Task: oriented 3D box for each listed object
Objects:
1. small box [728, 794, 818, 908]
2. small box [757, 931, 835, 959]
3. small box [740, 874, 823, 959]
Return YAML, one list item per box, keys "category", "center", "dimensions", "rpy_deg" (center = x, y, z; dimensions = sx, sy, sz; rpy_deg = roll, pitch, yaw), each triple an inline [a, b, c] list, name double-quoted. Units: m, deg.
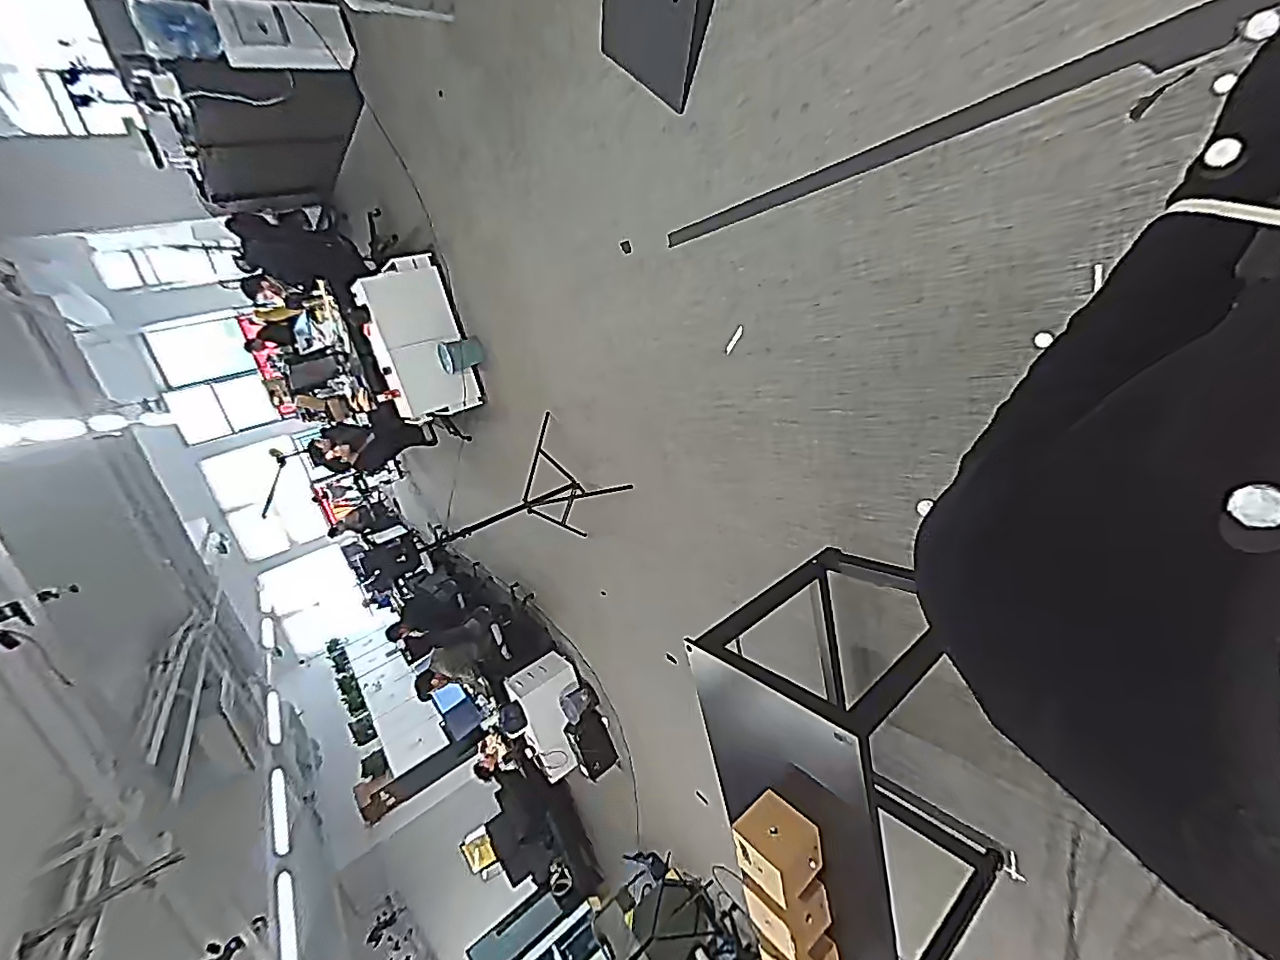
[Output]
- category: "small box"
  center: [0.377, 1.032, 1.528]
  dimensions: [0.179, 0.176, 0.168]
  rpy_deg: [16, 125, 51]
- category: "small box"
  center: [0.494, 1.504, 1.687]
  dimensions: [0.168, 0.176, 0.179]
  rpy_deg: [9, 118, 55]
- category: "small box"
  center: [0.429, 1.260, 1.616]
  dimensions: [0.179, 0.176, 0.168]
  rpy_deg: [11, 120, 54]
